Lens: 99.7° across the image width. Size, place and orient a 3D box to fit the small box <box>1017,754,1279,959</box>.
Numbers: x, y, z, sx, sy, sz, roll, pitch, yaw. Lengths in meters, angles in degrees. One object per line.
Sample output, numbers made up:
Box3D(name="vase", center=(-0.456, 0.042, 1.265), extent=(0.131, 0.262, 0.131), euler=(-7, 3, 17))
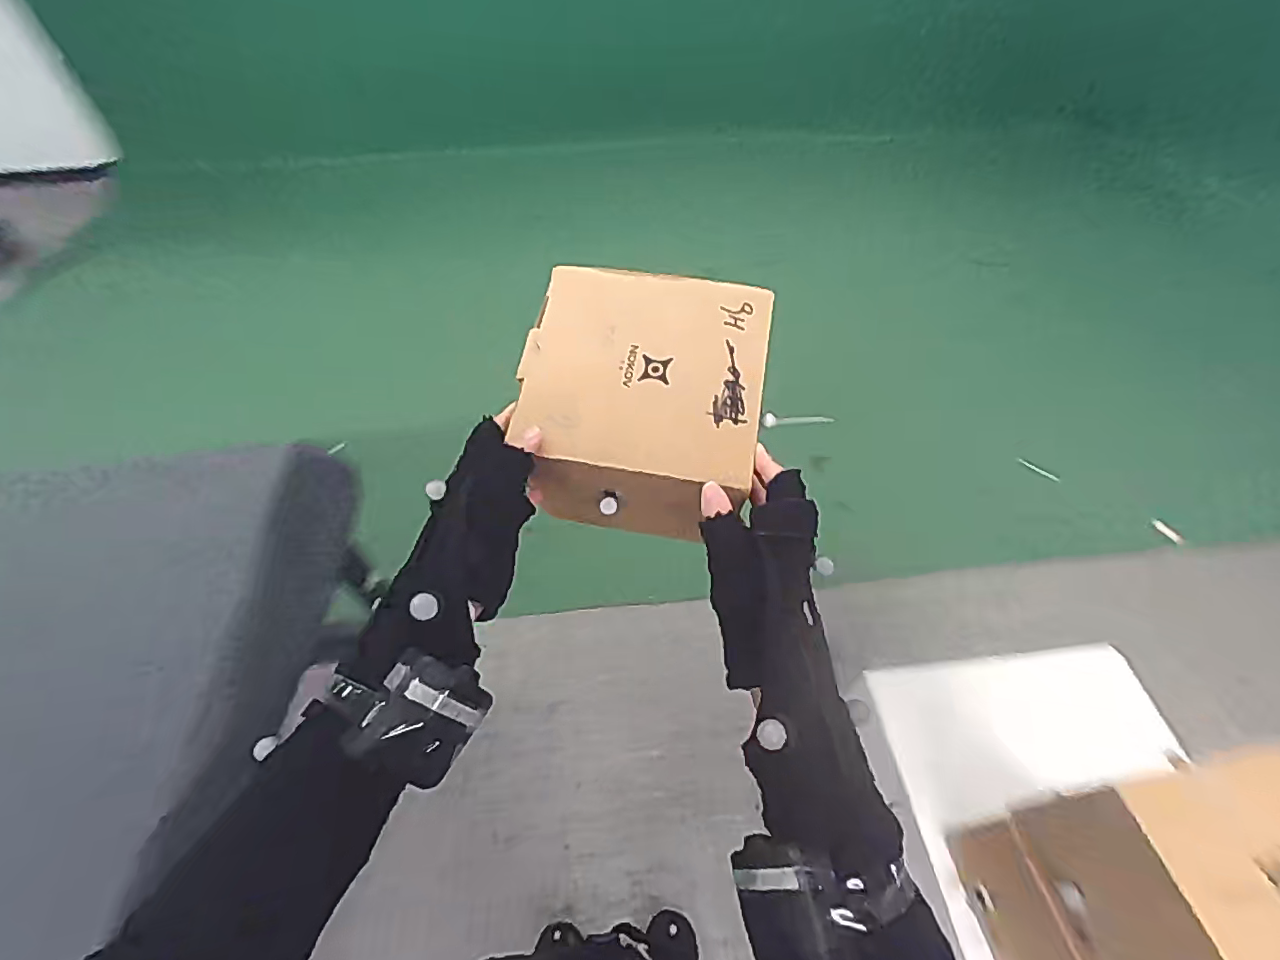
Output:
Box3D(name="small box", center=(0.476, 0.344, 0.451), extent=(0.179, 0.176, 0.168), euler=(-9, 52, -7))

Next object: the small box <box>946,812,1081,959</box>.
Box3D(name="small box", center=(0.474, 0.449, 0.577), extent=(0.179, 0.176, 0.168), euler=(-9, 51, -4))
